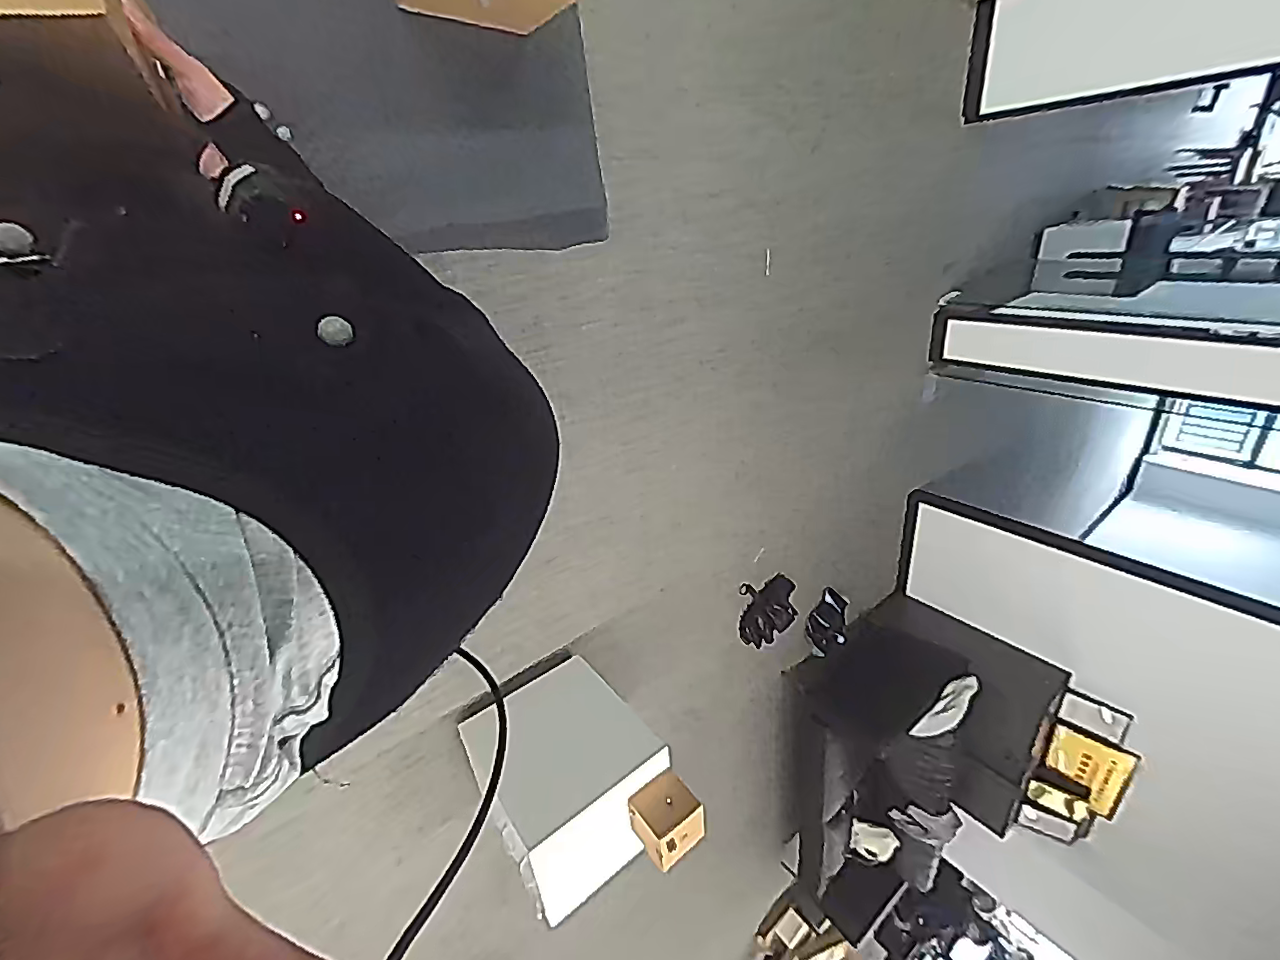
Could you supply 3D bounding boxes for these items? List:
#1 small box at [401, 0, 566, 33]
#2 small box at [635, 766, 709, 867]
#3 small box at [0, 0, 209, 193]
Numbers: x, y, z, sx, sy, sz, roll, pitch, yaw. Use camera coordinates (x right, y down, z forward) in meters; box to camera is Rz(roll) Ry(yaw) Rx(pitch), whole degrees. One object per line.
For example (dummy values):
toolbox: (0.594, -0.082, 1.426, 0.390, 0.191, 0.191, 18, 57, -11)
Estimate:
small box: (-0.178, -0.636, 0.605, 0.179, 0.176, 0.168, -18, 119, -33)
small box: (0.098, 1.066, 1.724, 0.179, 0.176, 0.168, -23, 122, -31)
small box: (-0.489, -0.351, 0.419, 0.179, 0.176, 0.168, -20, 90, -21)
